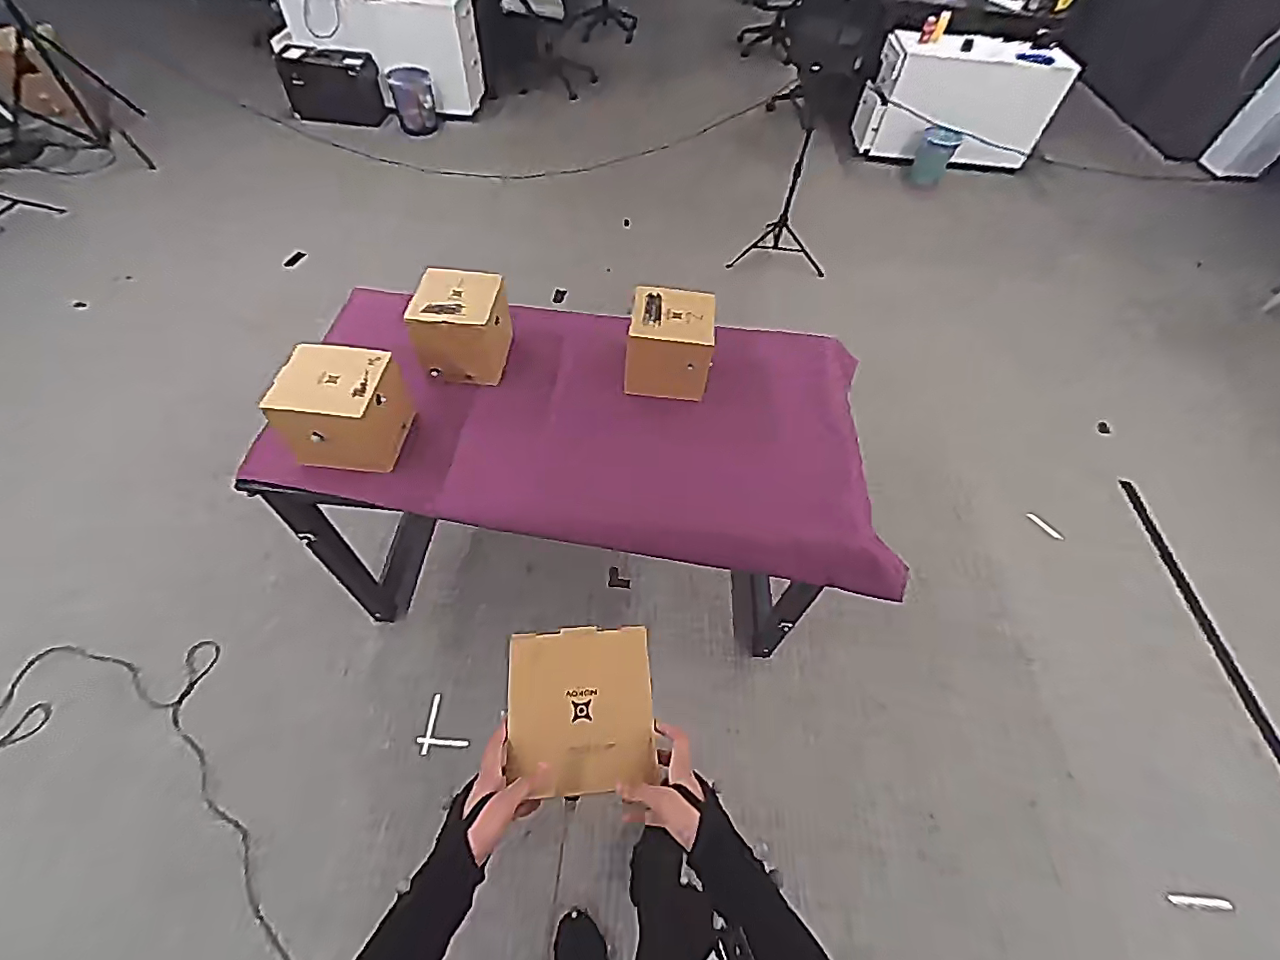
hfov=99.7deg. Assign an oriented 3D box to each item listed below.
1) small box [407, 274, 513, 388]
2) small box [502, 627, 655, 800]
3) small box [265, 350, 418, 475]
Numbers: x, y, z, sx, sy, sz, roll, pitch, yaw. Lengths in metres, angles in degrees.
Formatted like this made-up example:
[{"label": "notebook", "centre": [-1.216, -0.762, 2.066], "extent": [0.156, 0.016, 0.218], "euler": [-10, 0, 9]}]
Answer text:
[{"label": "small box", "centre": [-0.383, -0.323, 1.189], "extent": [0.168, 0.176, 0.179], "euler": [5, 54, -1]}, {"label": "small box", "centre": [-0.079, 0.297, 0.684], "extent": [0.168, 0.176, 0.179], "euler": [-2, 62, -7]}, {"label": "small box", "centre": [-0.554, -0.125, 1.032], "extent": [0.179, 0.176, 0.168], "euler": [5, 55, 0]}]
